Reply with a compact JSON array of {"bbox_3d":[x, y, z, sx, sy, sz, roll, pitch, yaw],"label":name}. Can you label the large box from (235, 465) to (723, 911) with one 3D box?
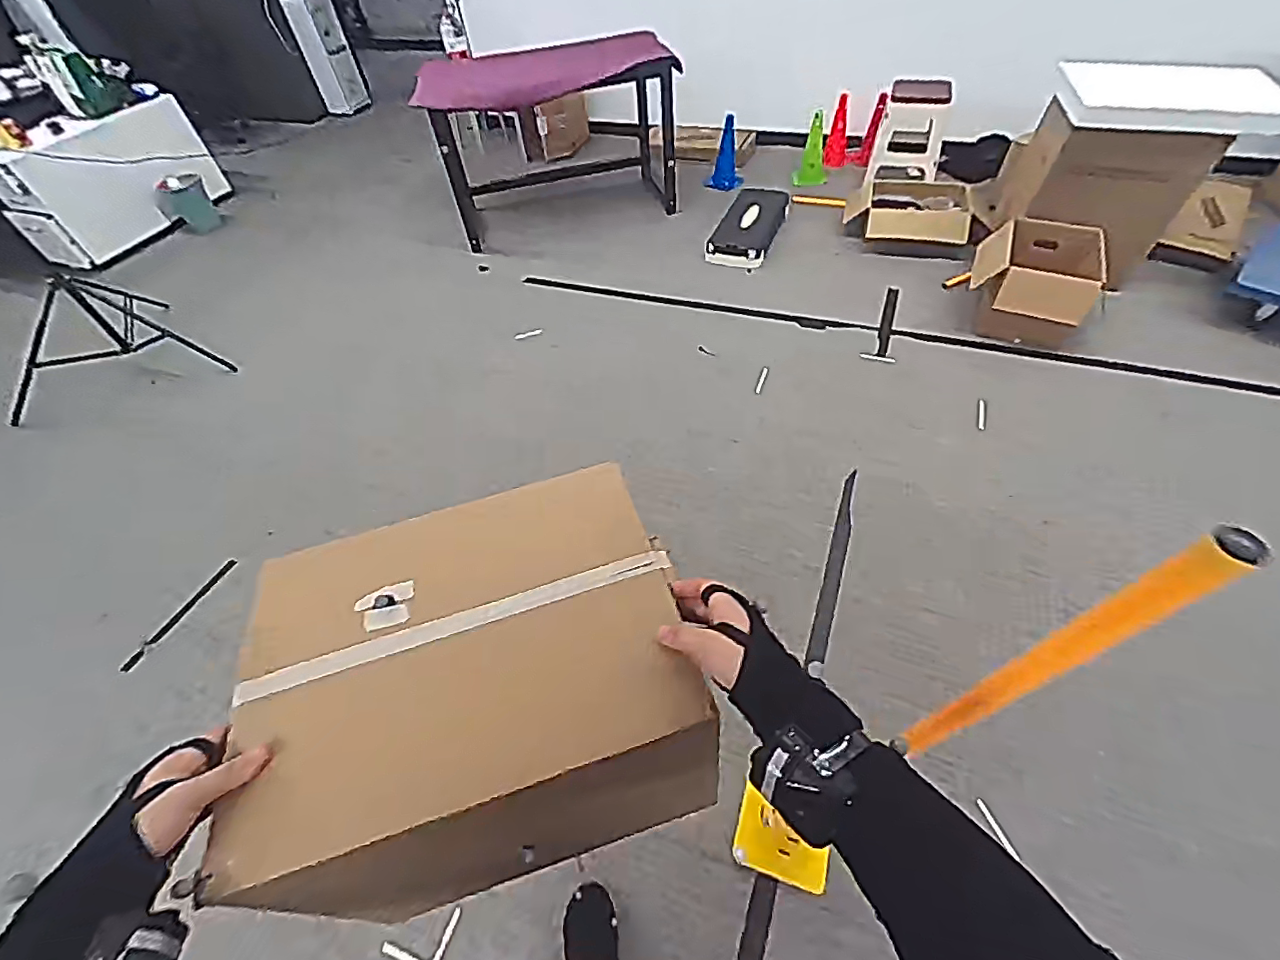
[{"bbox_3d":[-0.146,0.243,0.638,0.408,0.320,0.320,-18,47,-6],"label":"large box"}]
